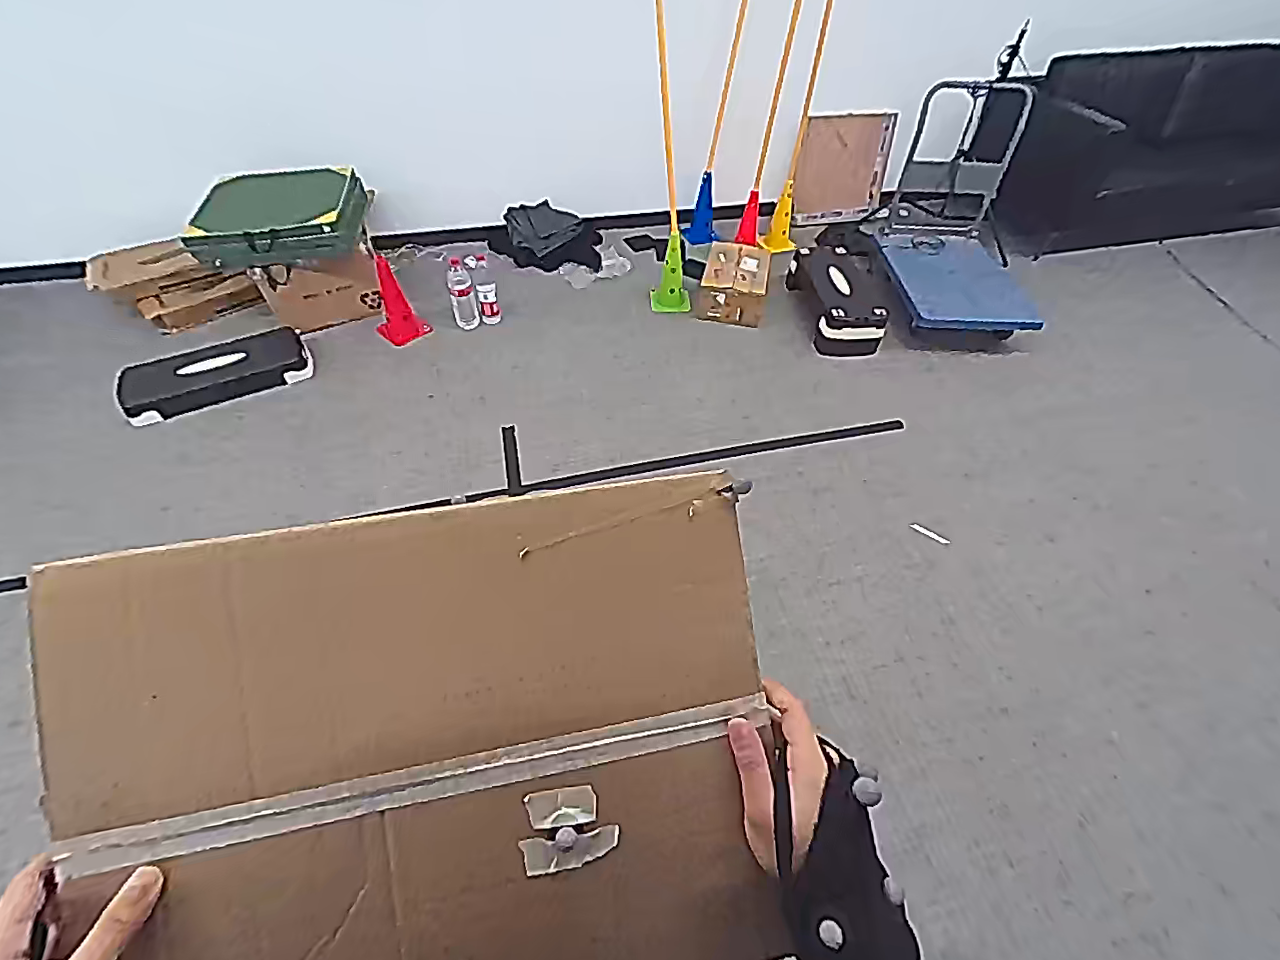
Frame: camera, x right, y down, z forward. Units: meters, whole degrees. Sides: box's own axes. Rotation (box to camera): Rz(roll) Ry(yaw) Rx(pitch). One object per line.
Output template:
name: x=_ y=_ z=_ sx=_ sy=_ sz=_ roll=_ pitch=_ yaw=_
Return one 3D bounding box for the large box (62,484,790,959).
large box: x=-0.139 y=0.192 z=0.480 sx=0.408 sy=0.320 sz=0.320 roll=-8 pitch=89 yaw=-10
